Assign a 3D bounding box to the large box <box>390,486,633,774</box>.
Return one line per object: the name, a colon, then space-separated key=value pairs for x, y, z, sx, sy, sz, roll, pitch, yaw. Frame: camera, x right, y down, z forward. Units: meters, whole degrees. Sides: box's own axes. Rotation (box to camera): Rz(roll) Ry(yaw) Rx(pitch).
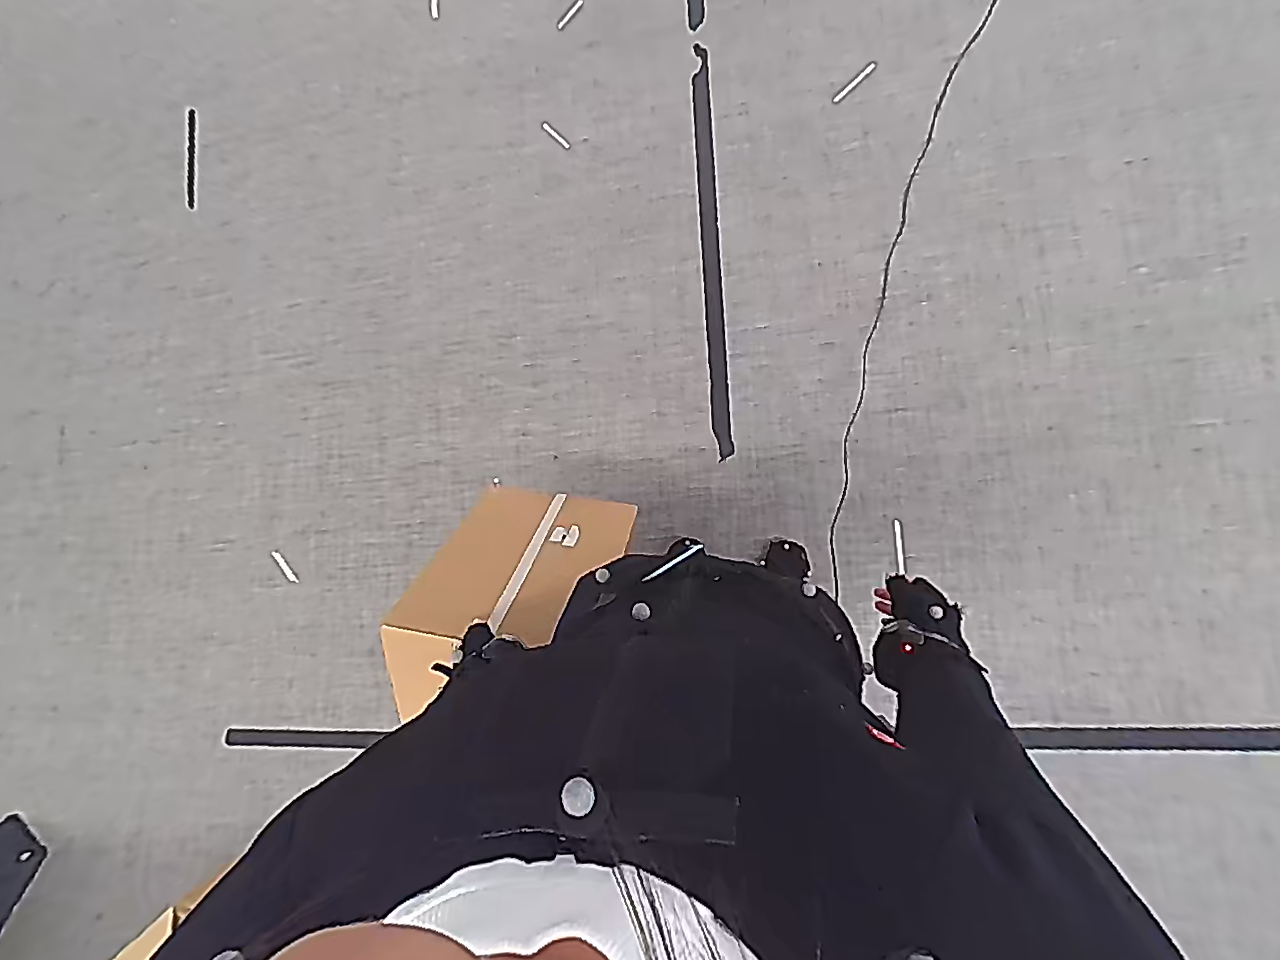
large box: x=-0.203 y=0.260 z=1.022 sx=0.320 sy=0.408 sz=0.320 roll=9 pitch=121 yaw=6
